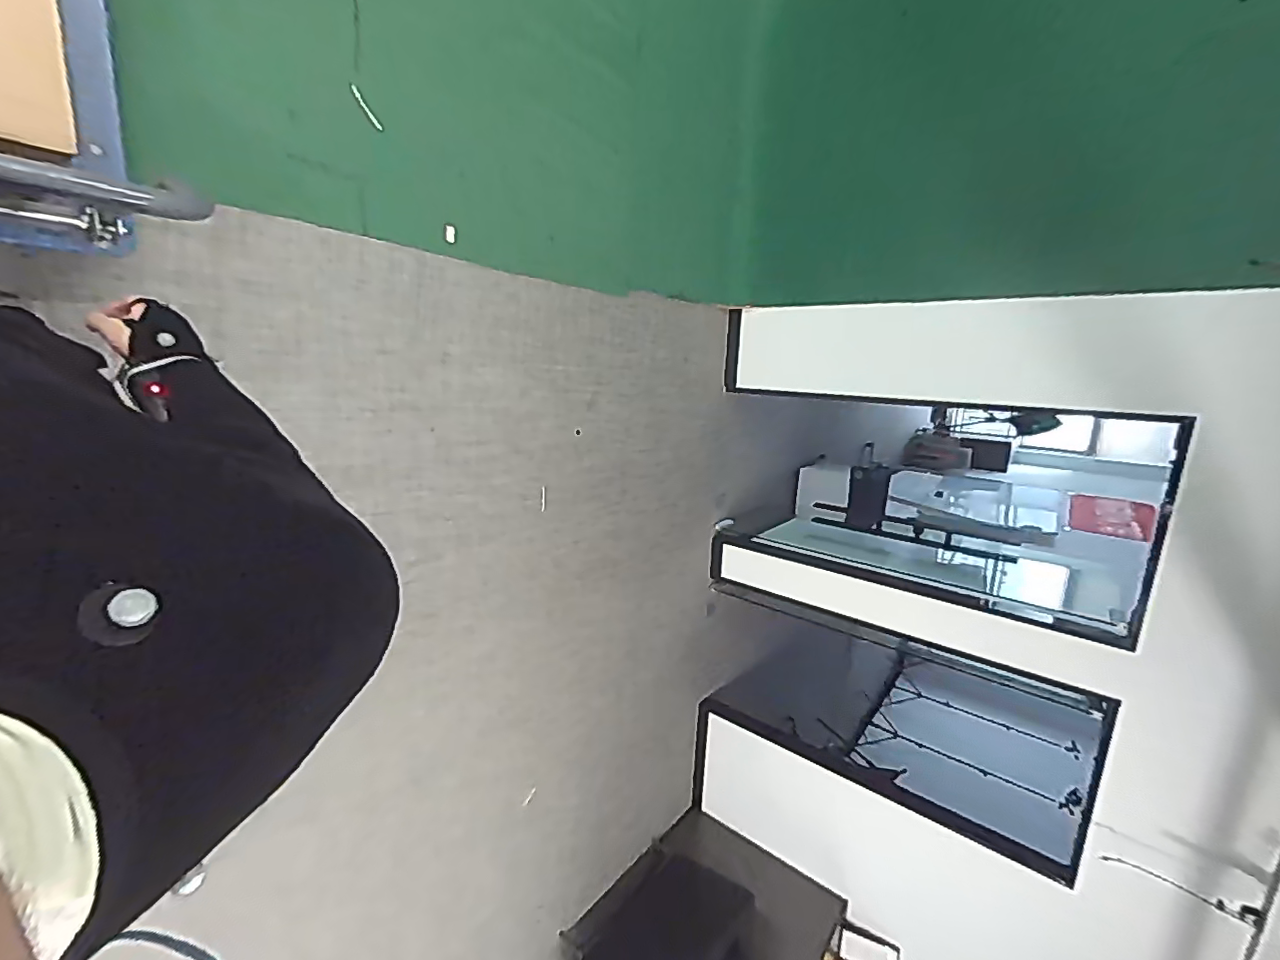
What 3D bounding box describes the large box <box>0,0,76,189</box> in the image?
[{"bbox_3d":[-1.033,-0.667,0.724,0.320,0.320,0.408,-13,108,-51],"label":"large box"}]
